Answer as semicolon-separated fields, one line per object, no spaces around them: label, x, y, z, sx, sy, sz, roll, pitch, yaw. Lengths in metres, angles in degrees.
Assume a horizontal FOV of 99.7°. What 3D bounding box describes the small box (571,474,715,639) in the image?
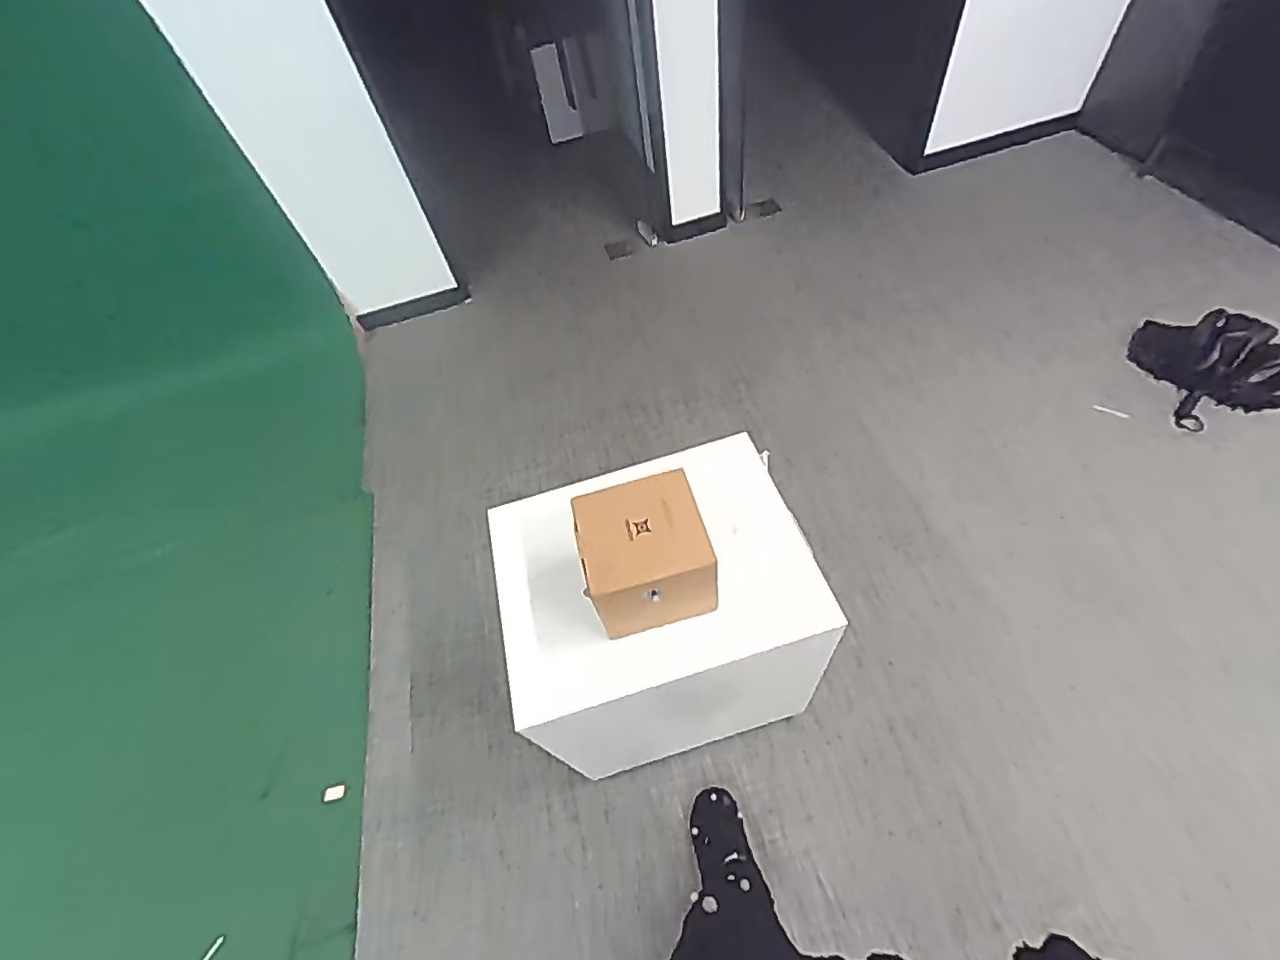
small box;0.008;0.122;0.820;0.179;0.176;0.168;-15;54;-3
